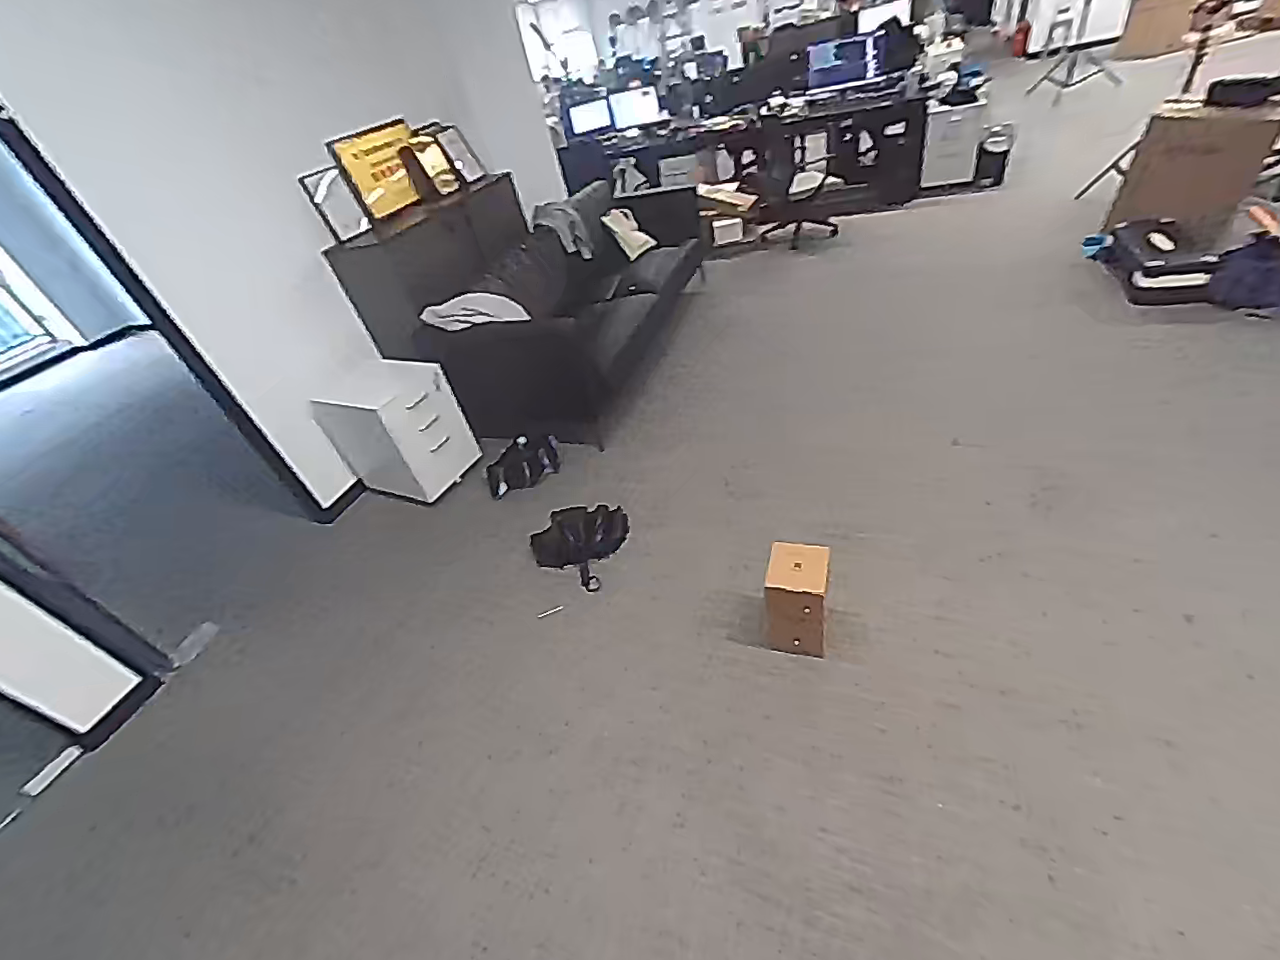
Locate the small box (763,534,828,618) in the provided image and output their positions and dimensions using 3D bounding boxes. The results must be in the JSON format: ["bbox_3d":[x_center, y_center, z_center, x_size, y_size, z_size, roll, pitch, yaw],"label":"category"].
[{"bbox_3d":[0.467,0.287,1.609,0.168,0.176,0.179,4,43,21],"label":"small box"}]

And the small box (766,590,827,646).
[{"bbox_3d":[0.502,0.404,1.716,0.168,0.176,0.179,3,45,21],"label":"small box"}]
